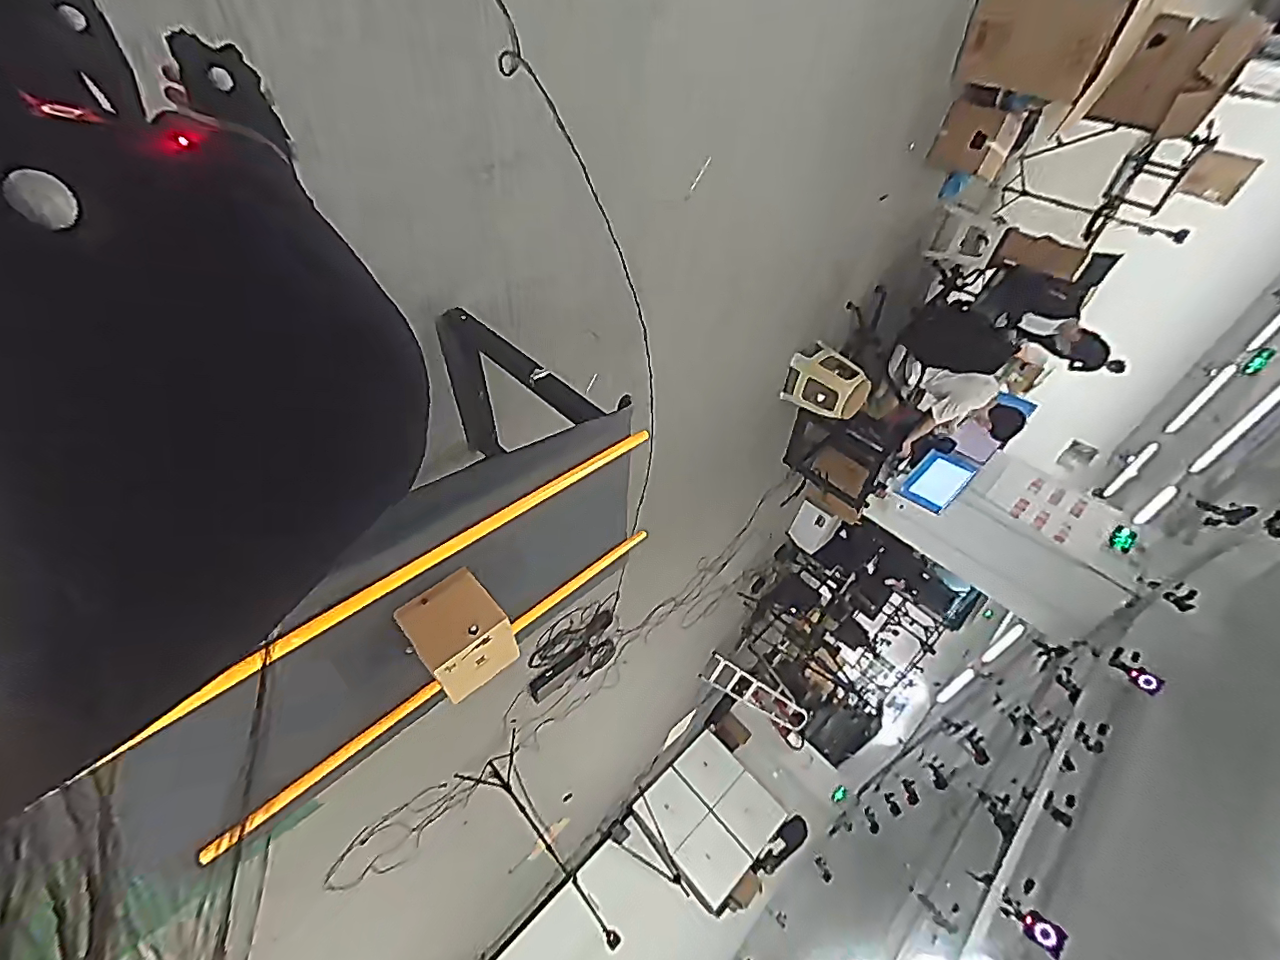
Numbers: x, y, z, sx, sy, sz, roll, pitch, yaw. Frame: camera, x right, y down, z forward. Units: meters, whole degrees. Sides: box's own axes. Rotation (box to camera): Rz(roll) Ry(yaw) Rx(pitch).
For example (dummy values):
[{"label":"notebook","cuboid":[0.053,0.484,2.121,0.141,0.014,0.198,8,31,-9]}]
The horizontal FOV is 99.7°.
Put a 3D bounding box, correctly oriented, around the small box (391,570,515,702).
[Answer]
[{"label":"small box","cuboid":[-0.387,0.321,1.132,0.168,0.176,0.179,-35,149,-29]}]
